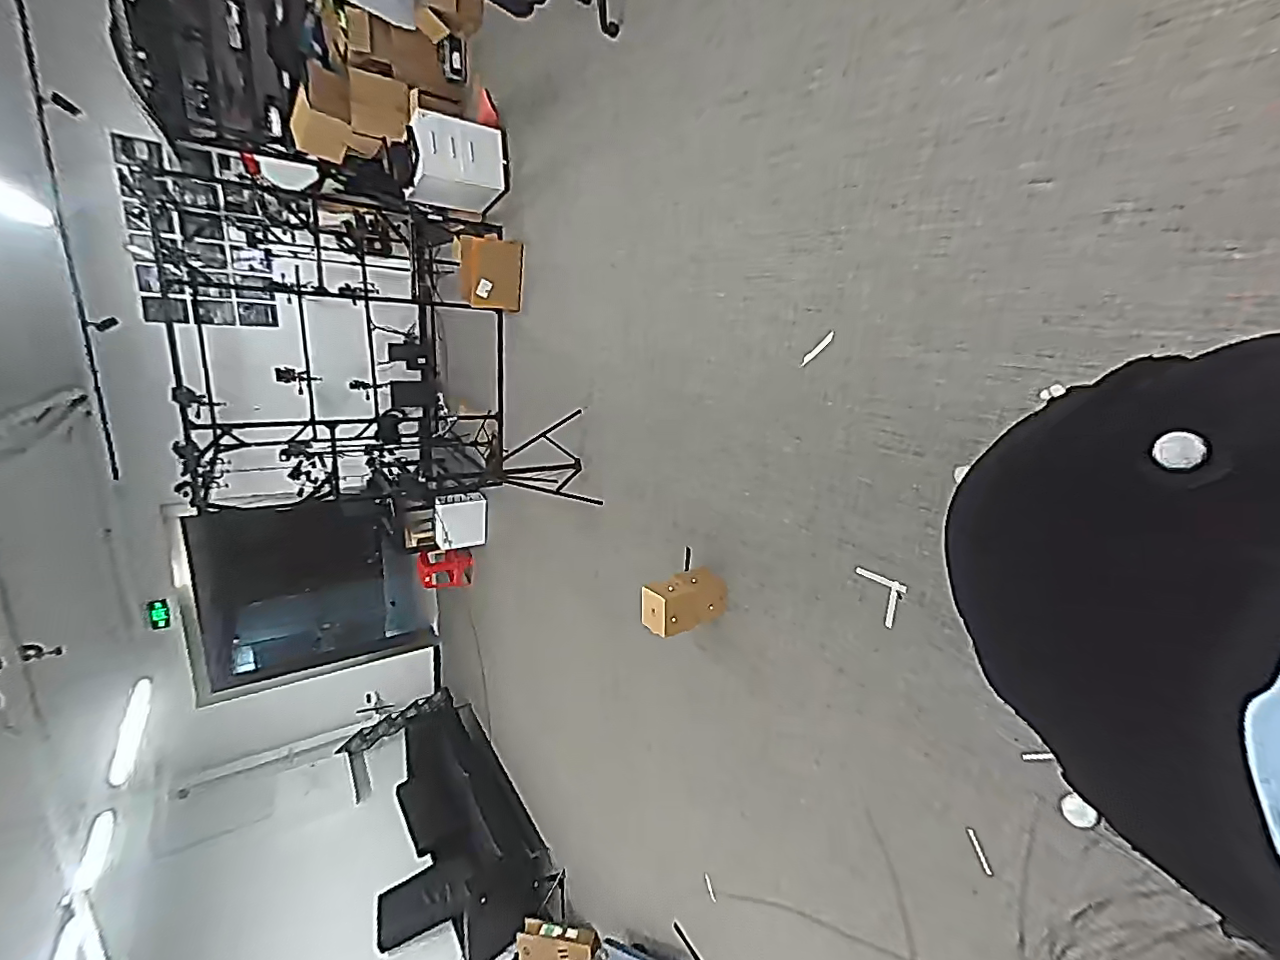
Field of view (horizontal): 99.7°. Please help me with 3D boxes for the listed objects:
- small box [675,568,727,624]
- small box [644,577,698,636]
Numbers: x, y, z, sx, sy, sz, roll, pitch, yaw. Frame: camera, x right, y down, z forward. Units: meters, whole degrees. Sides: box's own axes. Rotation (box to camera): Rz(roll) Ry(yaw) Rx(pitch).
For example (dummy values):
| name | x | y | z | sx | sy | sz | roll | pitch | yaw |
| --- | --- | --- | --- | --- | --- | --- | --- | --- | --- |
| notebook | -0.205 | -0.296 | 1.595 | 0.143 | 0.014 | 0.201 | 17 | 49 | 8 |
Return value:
| name | x | y | z | sx | sy | sz | roll | pitch | yaw |
| --- | --- | --- | --- | --- | --- | --- | --- | --- | --- |
| small box | 0.263 | 0.503 | 2.381 | 0.179 | 0.176 | 0.168 | 30 | 120 | 51 |
| small box | 0.133 | 0.527 | 2.286 | 0.168 | 0.176 | 0.179 | 17 | 111 | 54 |
